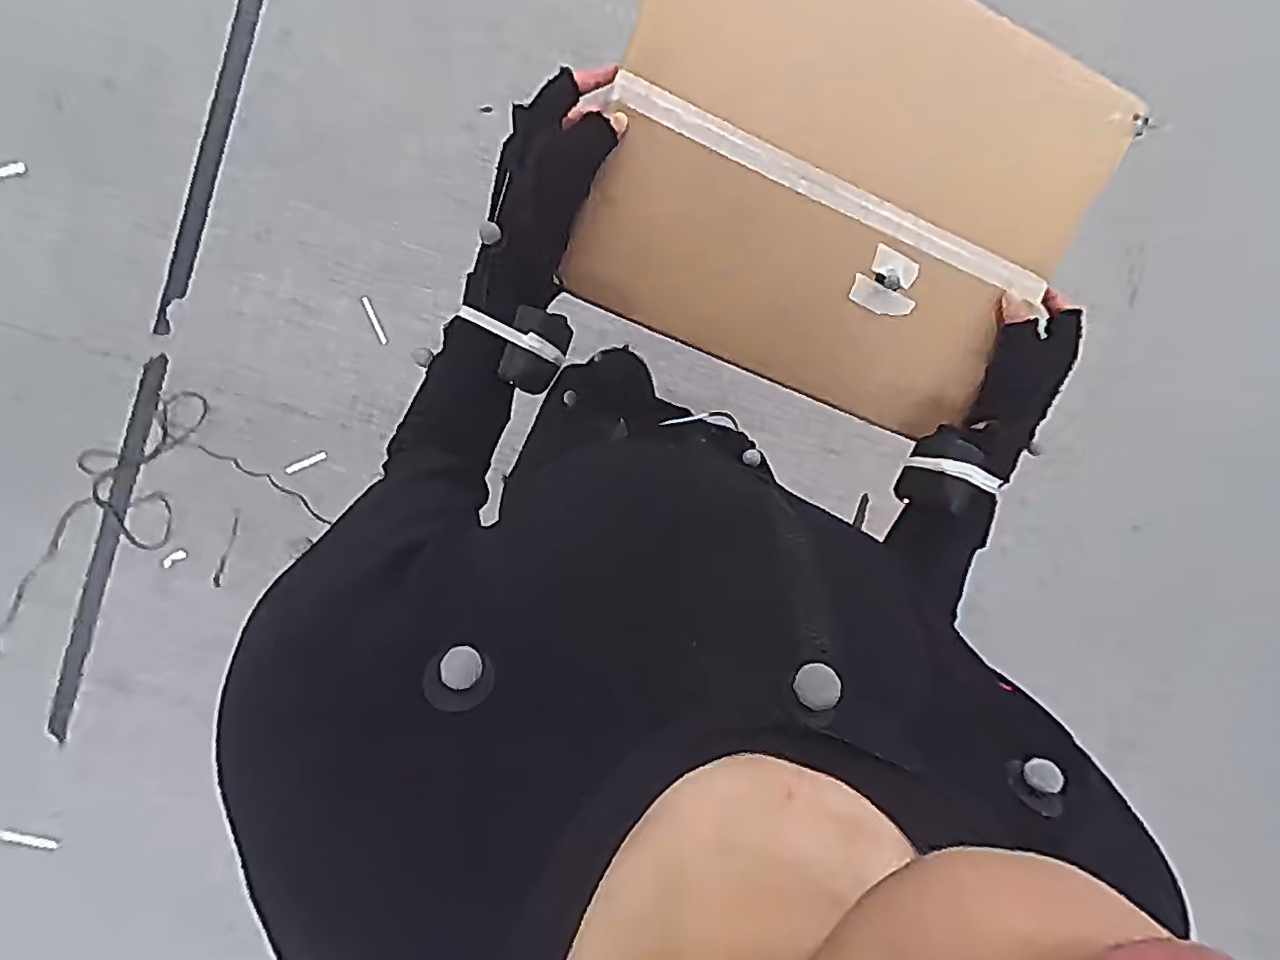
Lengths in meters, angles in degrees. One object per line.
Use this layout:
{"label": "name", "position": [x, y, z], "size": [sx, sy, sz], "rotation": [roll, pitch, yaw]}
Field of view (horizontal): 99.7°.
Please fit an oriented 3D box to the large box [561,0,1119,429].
{"label": "large box", "position": [0.156, -0.295, 0.603], "size": [0.408, 0.320, 0.320], "rotation": [20, 108, -10]}
